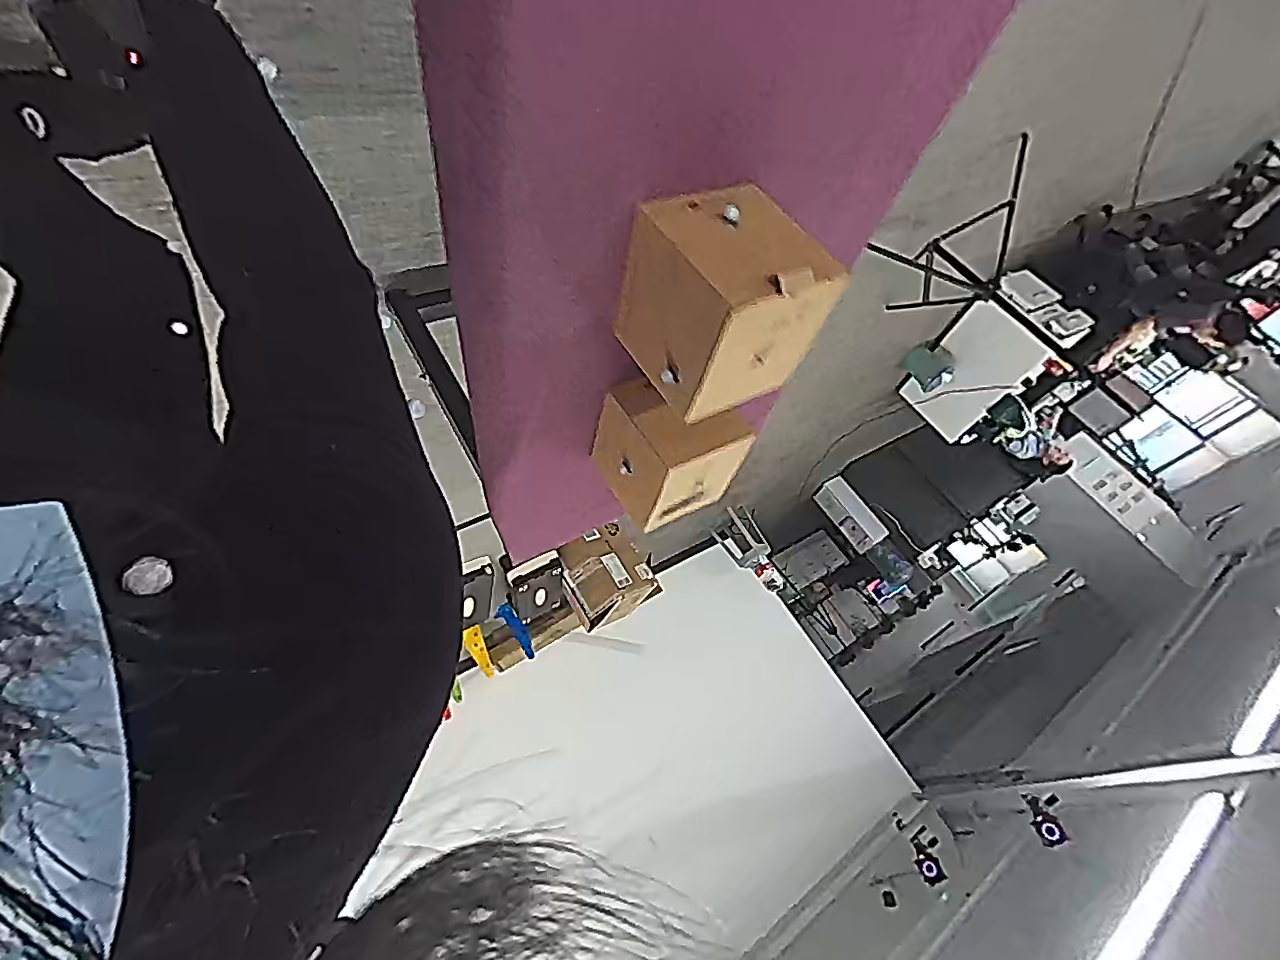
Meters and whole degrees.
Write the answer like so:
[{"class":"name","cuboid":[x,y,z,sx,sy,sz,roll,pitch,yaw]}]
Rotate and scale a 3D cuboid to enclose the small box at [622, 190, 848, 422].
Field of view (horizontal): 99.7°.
[{"class":"small box","cuboid":[0.096,-0.204,0.634,0.168,0.176,0.179,-24,155,-26]}]
